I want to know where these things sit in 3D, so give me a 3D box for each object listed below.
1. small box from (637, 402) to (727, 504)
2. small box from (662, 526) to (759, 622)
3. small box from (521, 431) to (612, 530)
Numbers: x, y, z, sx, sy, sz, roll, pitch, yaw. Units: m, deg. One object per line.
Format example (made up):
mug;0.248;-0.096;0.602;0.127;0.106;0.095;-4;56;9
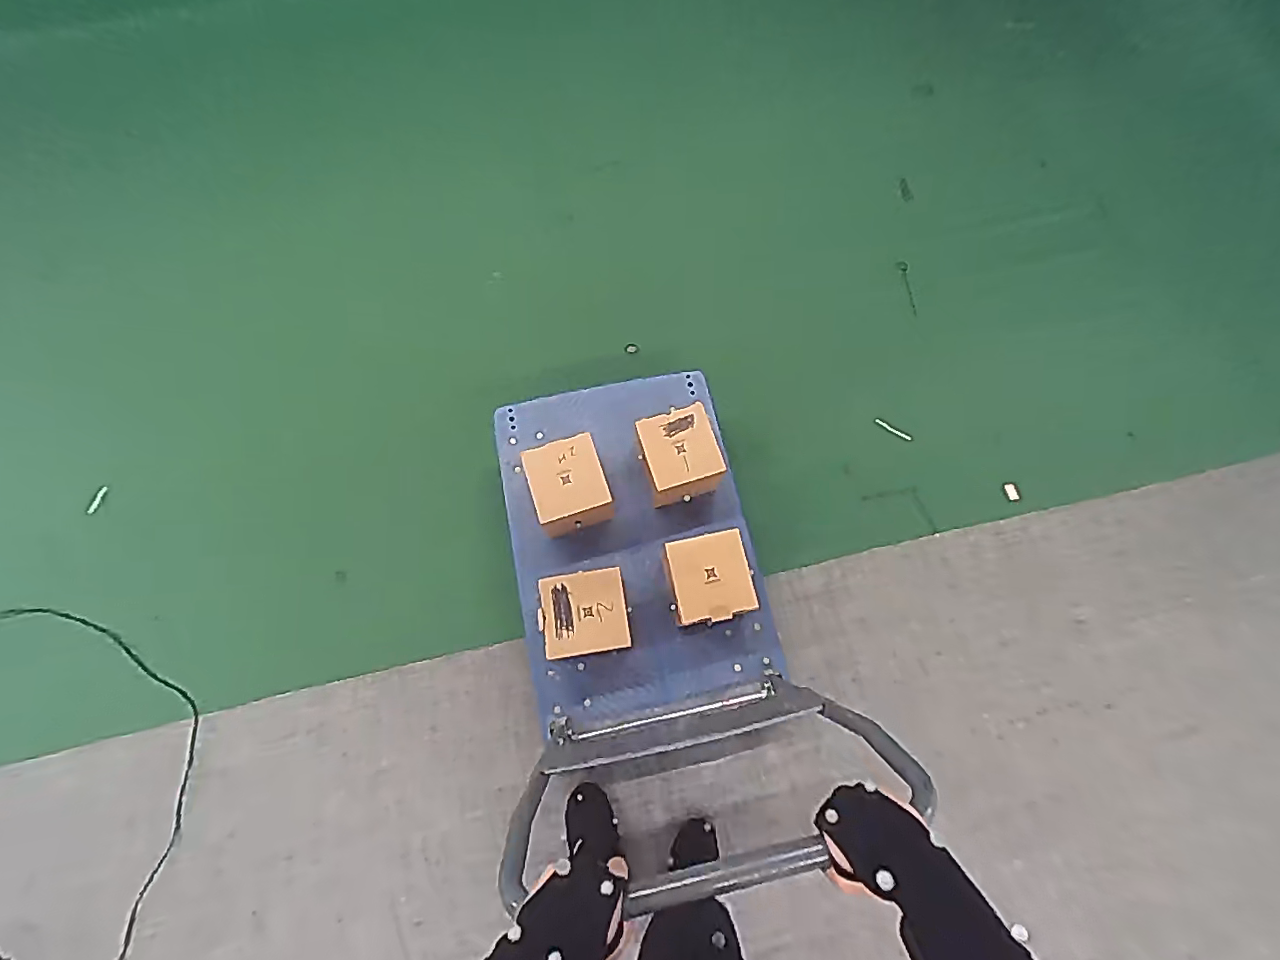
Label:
small box;0.091;-0.059;1.296;0.168;0.176;0.179;-16;75;-5
small box;0.150;0.218;1.220;0.168;0.176;0.179;-11;76;-4
small box;-0.165;0.010;1.269;0.168;0.176;0.179;-17;75;-7
